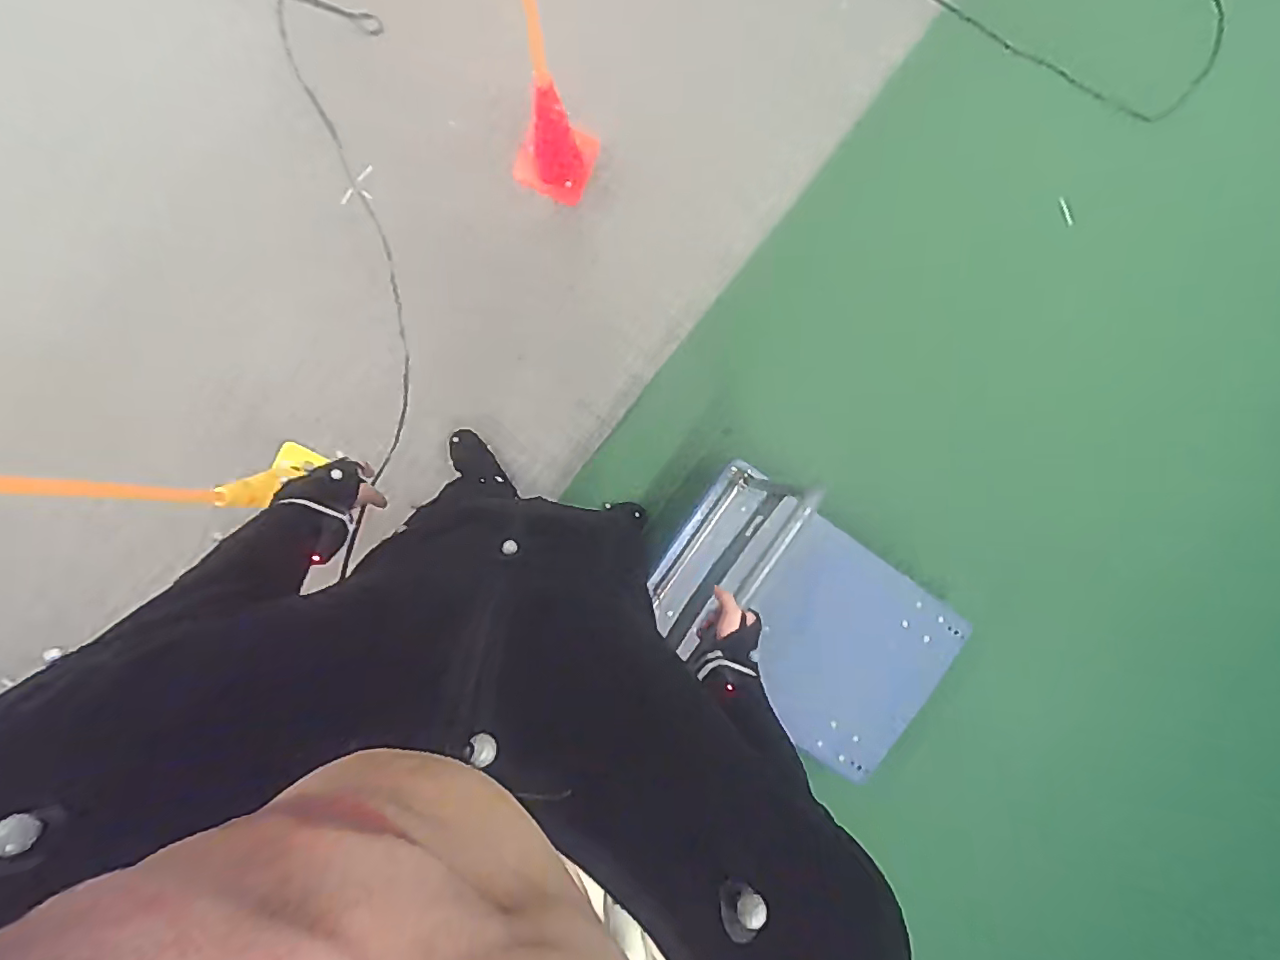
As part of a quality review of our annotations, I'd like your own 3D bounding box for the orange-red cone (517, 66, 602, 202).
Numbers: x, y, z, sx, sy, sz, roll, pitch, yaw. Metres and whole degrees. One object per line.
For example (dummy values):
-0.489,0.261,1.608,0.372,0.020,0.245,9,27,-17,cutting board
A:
-0.215,-0.909,1.369,0.198,0.360,0.199,24,91,-6,orange-red cone
